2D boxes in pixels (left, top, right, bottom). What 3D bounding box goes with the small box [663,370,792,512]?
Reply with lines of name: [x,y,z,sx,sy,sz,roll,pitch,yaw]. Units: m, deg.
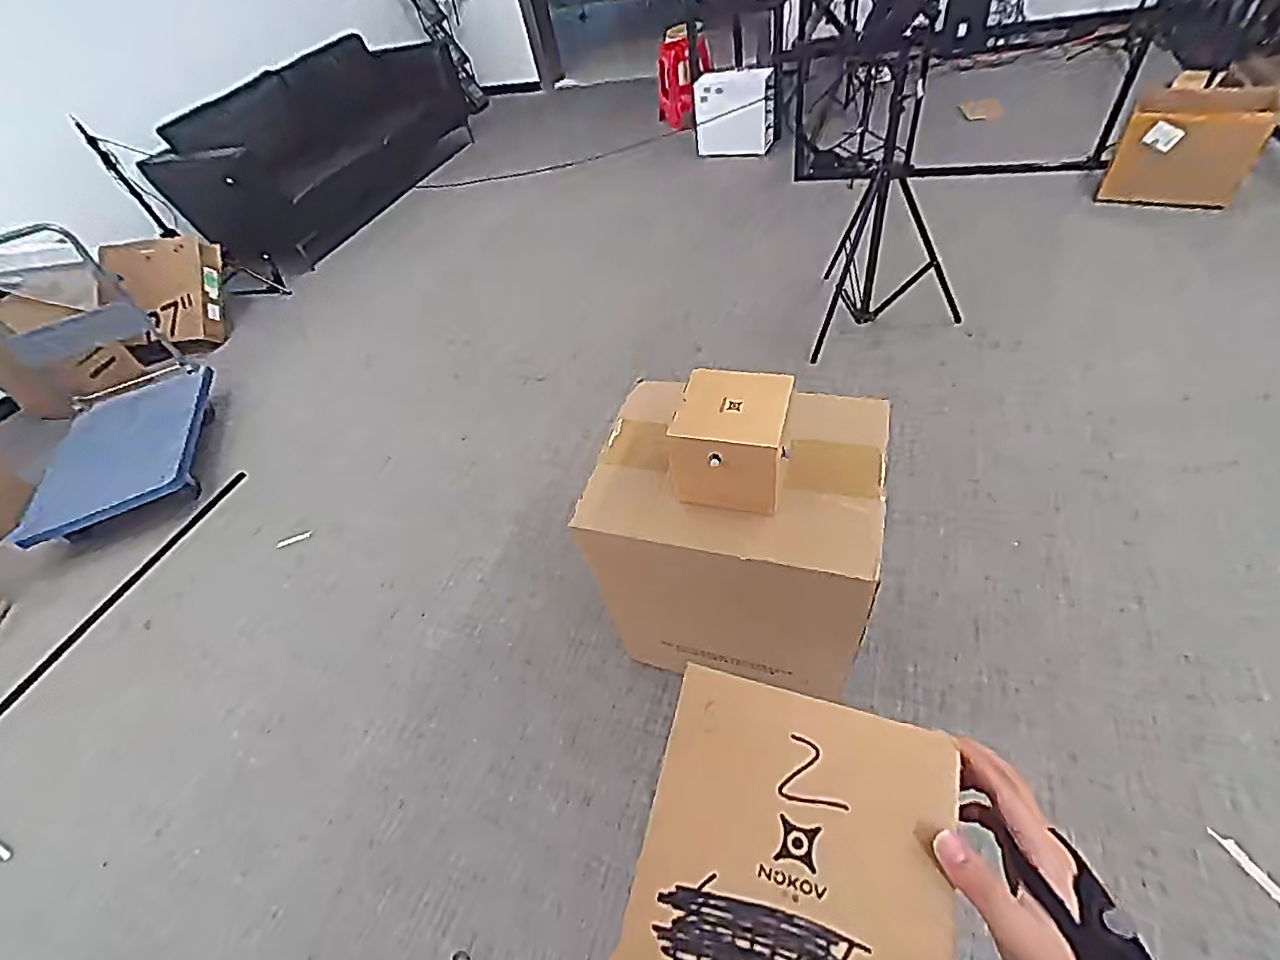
small box: [0.155,-0.063,0.918,0.179,0.176,0.168,8,52,20]
